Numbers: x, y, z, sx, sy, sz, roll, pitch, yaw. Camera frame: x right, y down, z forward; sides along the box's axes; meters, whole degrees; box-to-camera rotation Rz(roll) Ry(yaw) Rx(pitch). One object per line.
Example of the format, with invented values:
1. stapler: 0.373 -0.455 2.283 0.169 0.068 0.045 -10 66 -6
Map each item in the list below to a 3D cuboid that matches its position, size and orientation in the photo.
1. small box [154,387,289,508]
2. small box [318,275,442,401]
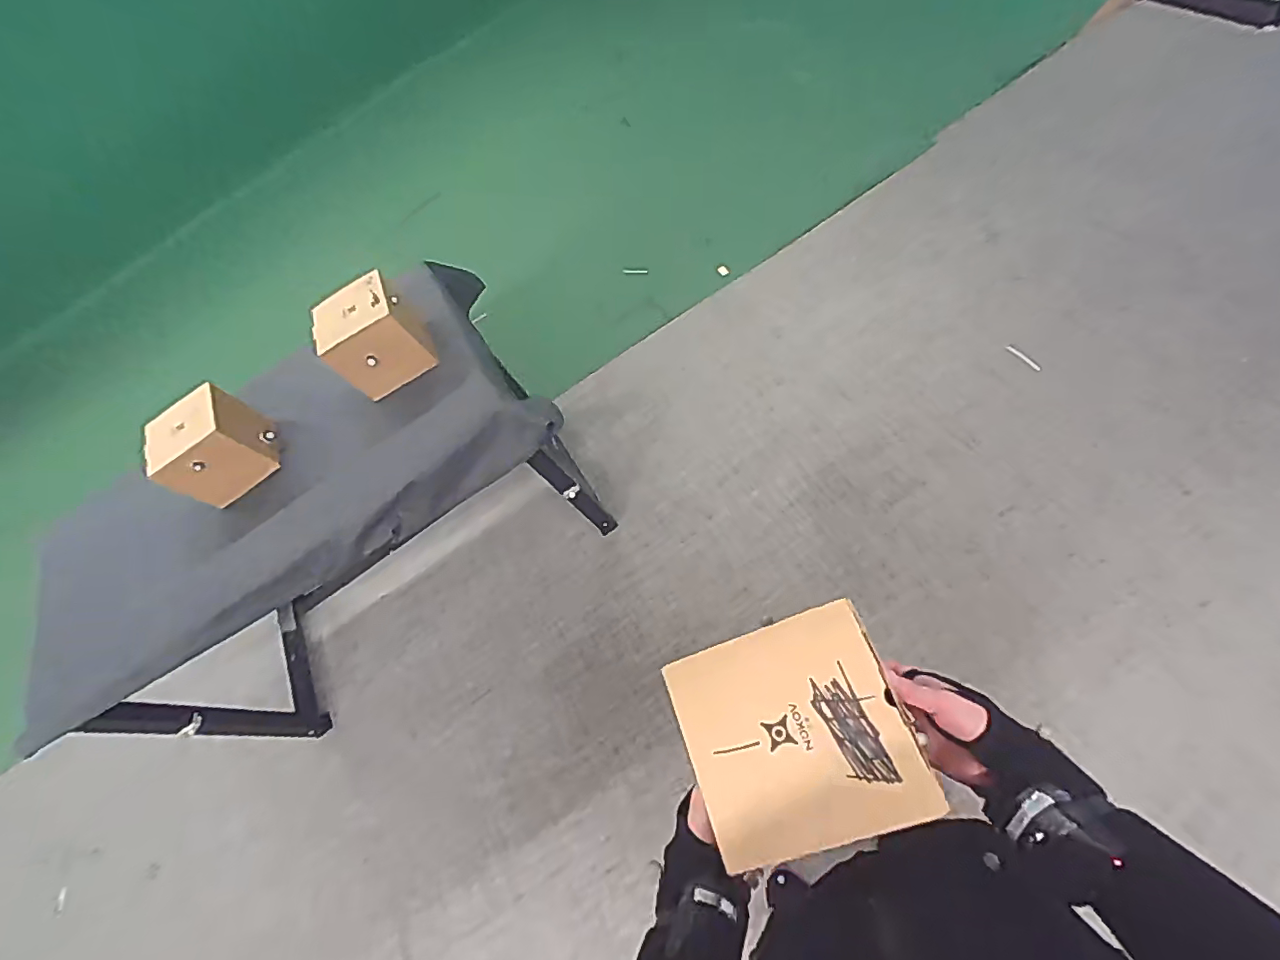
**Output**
1. small box: -0.938 -0.066 1.217 0.179 0.176 0.168 -35 59 -1
2. small box: -0.574 -0.307 1.202 0.179 0.176 0.168 -30 59 4
